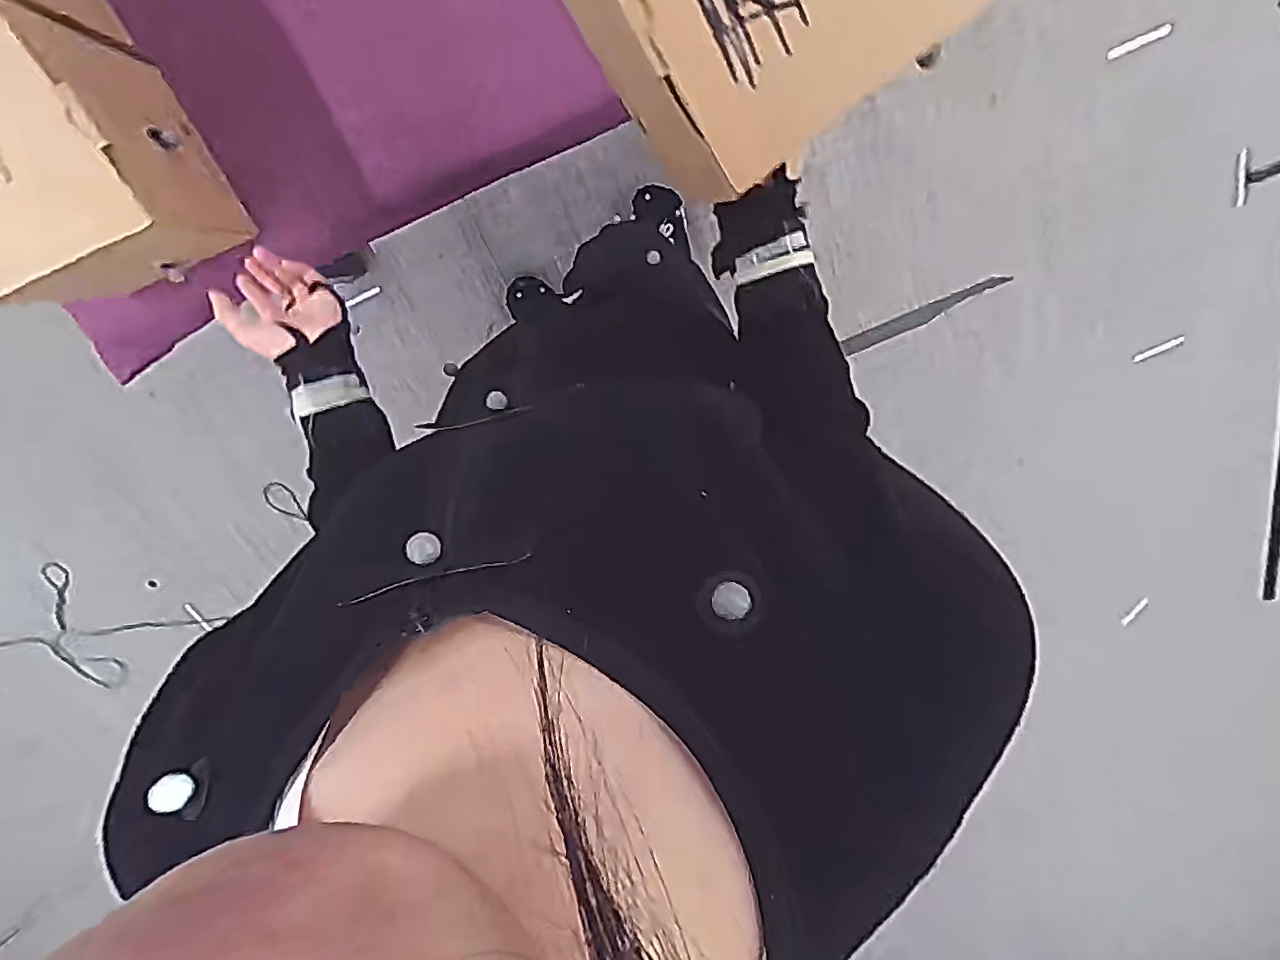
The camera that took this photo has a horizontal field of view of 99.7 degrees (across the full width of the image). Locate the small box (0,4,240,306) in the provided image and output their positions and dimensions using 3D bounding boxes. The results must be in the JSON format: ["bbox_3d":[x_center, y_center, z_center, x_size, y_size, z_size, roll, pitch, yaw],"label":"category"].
[{"bbox_3d":[-0.521,-0.279,0.500,0.179,0.176,0.168,-23,113,2],"label":"small box"}]
